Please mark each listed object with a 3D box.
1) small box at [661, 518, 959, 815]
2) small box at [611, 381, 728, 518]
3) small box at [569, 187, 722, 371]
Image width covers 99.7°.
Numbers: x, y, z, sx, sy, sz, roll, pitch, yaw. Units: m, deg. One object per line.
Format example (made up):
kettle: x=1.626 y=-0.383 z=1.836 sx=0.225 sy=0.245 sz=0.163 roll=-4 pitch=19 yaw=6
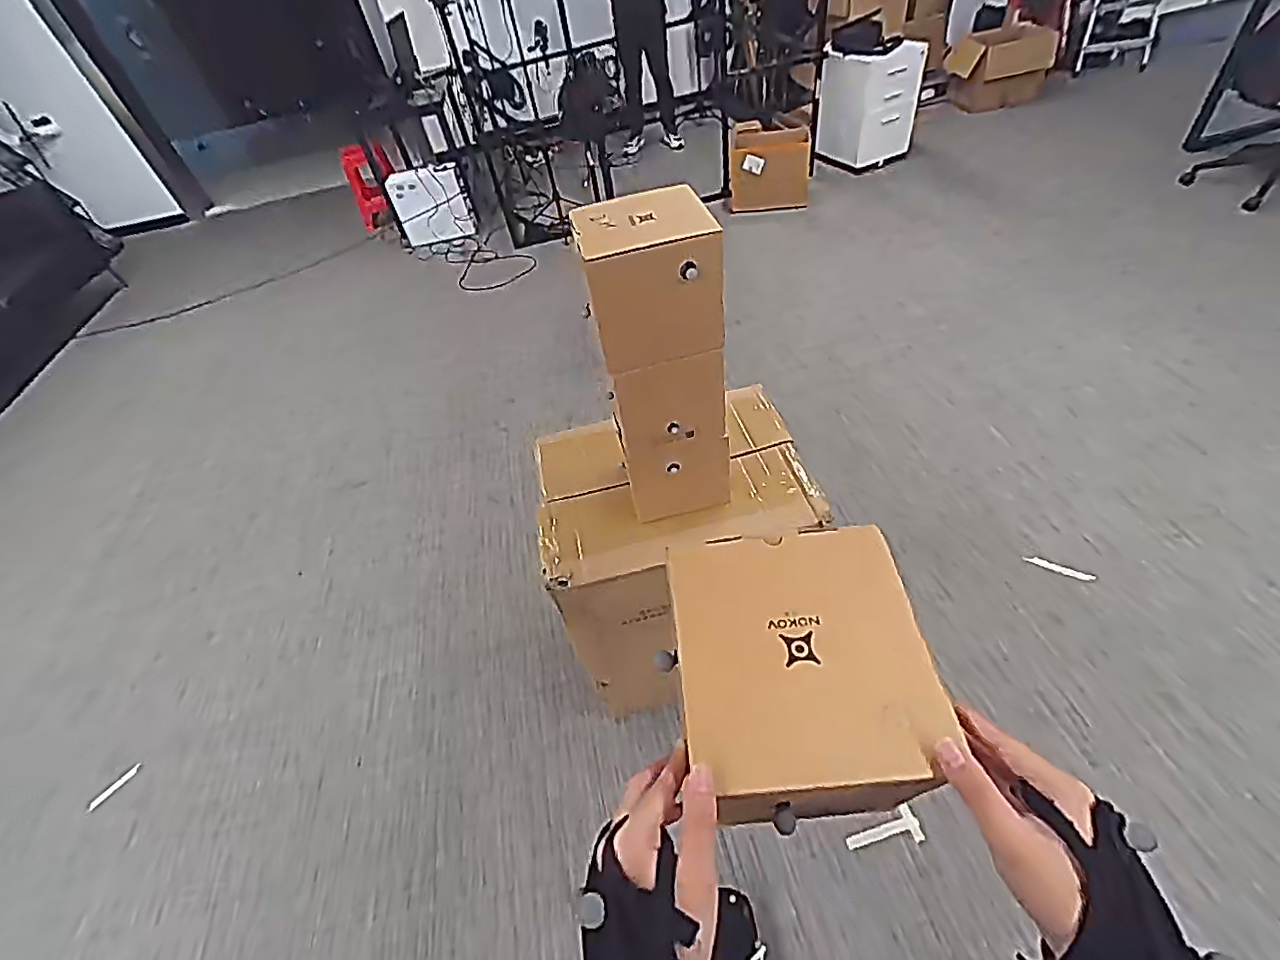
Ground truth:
small box: x=0.110 y=0.155 z=0.431 sx=0.168 sy=0.176 sz=0.179 roll=-6 pitch=50 yaw=2
small box: x=0.056 y=-0.052 z=0.992 sx=0.179 sy=0.176 sz=0.168 roll=-13 pitch=47 yaw=-2
small box: x=0.010 y=-0.280 z=0.759 sx=0.179 sy=0.176 sz=0.168 roll=-14 pitch=47 yaw=-2
